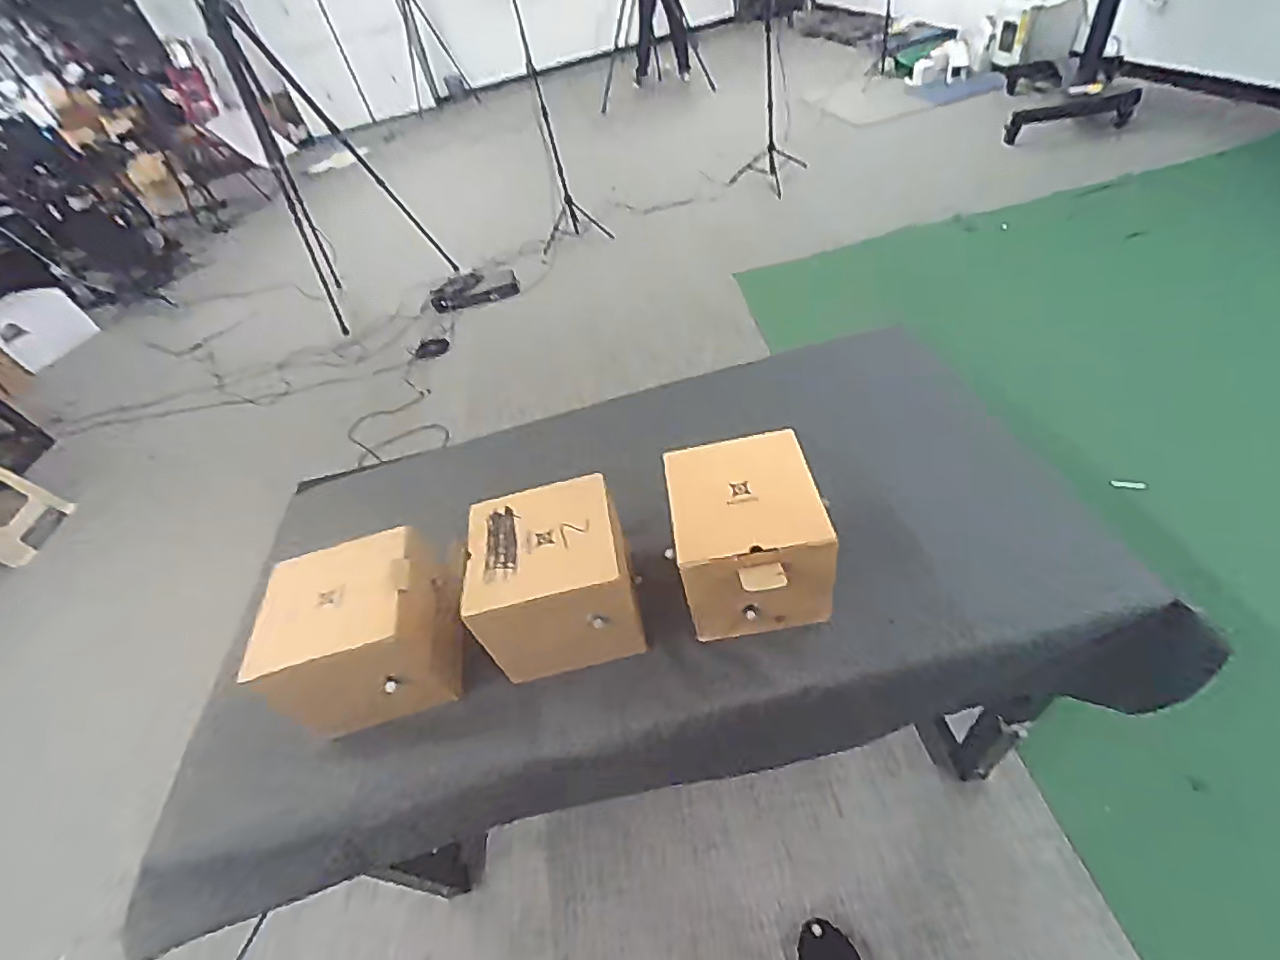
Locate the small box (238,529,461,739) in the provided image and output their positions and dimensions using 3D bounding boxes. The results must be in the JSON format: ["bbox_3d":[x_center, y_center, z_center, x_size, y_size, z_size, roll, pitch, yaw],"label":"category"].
[{"bbox_3d":[-0.339,0.194,0.677,0.179,0.176,0.168,-17,43,-2],"label":"small box"}]

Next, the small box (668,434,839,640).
[{"bbox_3d":[0.131,0.072,0.671,0.168,0.176,0.179,-10,45,4],"label":"small box"}]
